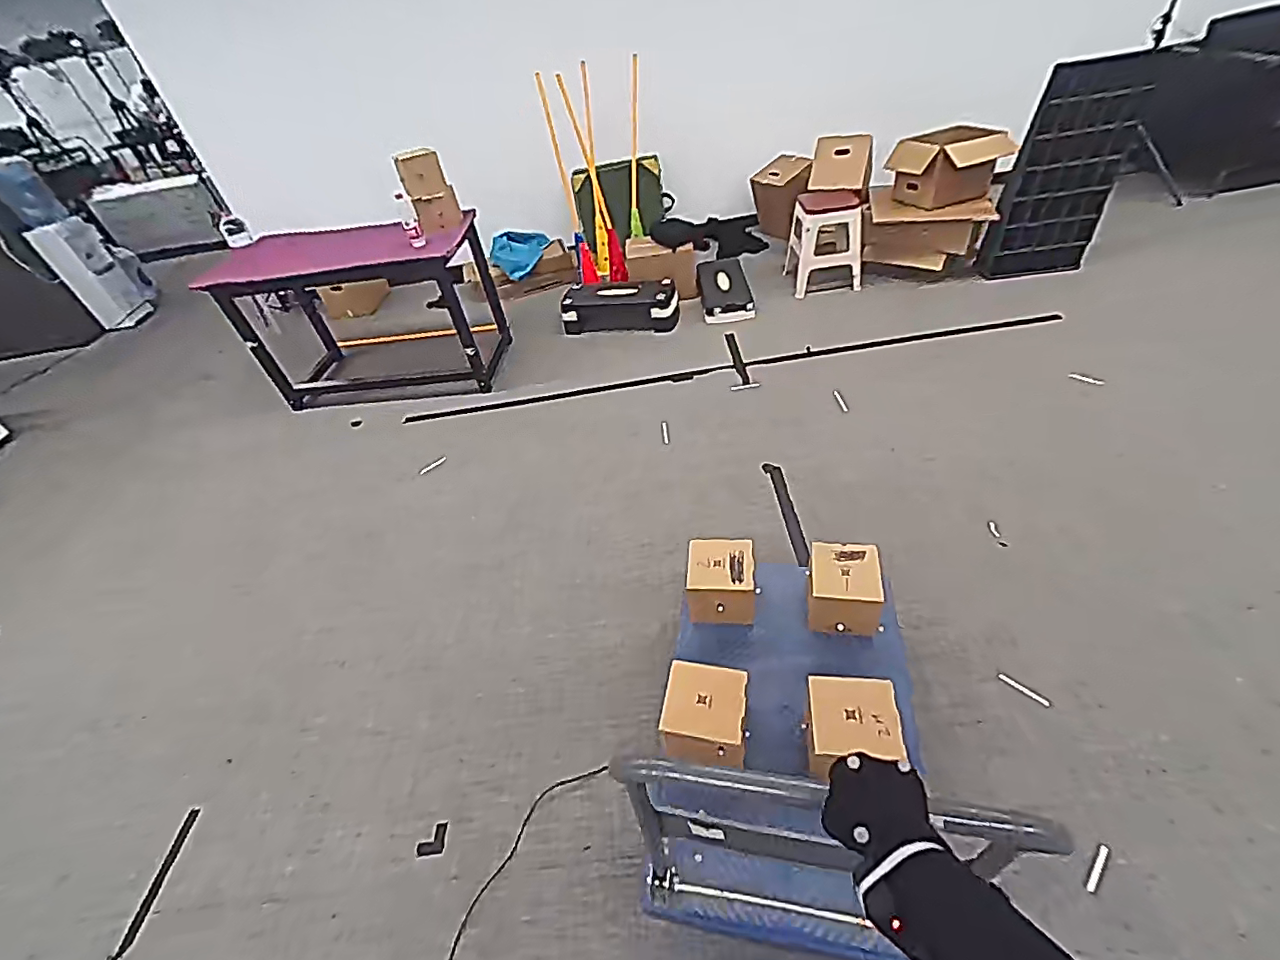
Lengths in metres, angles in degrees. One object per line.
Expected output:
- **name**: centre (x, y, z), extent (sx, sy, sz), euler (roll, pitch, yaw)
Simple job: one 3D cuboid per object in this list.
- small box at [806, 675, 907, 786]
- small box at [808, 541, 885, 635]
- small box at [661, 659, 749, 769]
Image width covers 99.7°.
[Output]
- **small box**: centre (0.457, 0.543, 1.172), extent (0.179, 0.176, 0.168), euler (0, 44, 12)
- **small box**: centre (0.537, 0.284, 1.428), extent (0.168, 0.176, 0.179), euler (2, 46, 14)
- **small box**: centre (0.155, 0.537, 1.240), extent (0.179, 0.176, 0.168), euler (4, 44, 14)
